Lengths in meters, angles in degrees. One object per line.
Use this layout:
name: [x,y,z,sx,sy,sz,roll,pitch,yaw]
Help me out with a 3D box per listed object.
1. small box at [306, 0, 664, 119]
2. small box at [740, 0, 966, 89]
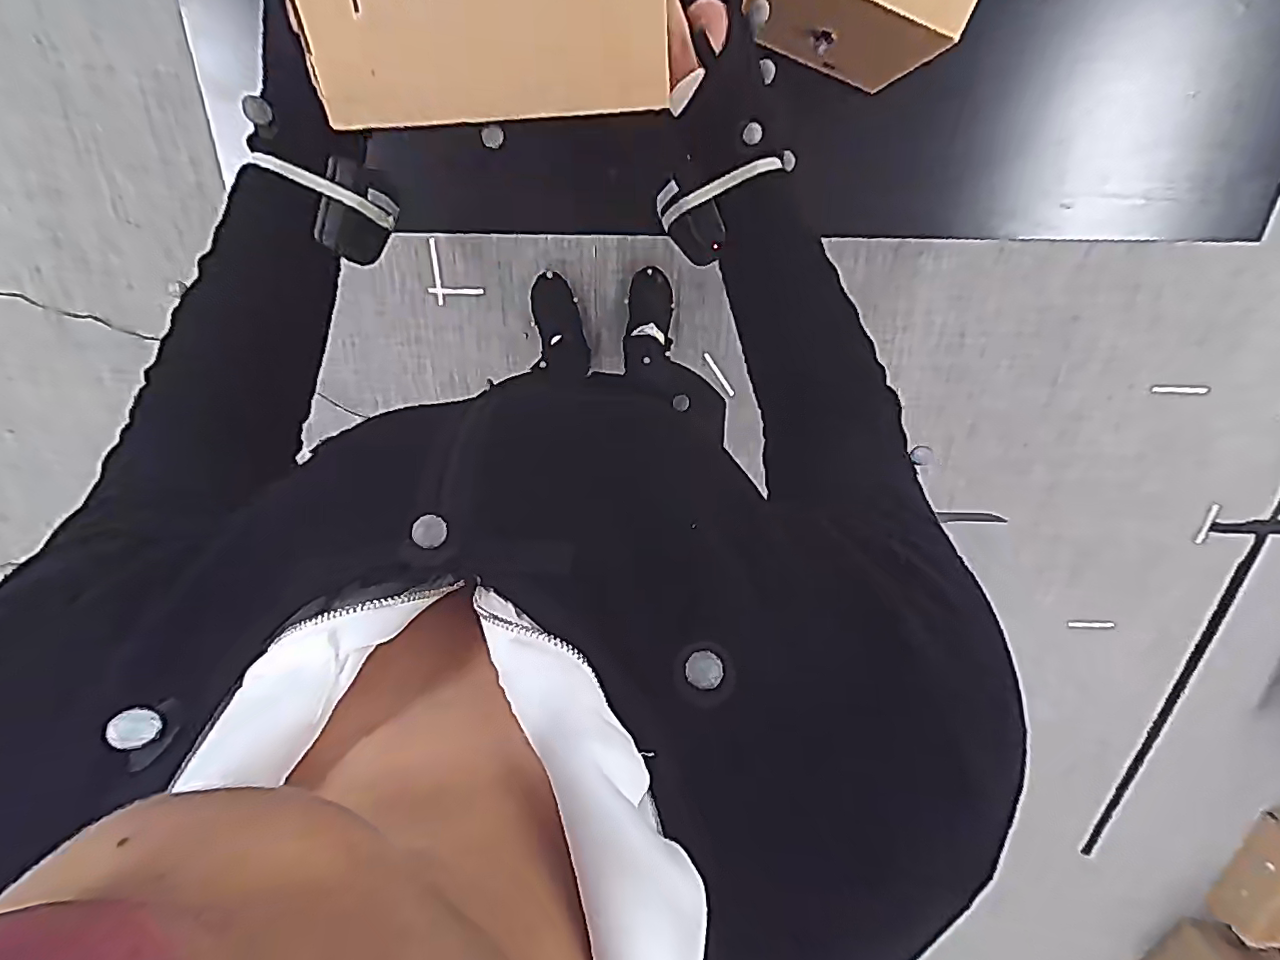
small box: [-0.081,-0.308,0.308,0.179,0.176,0.168,-5,125,-2]
small box: [0.200,-0.485,0.474,0.168,0.176,0.179,17,111,-9]
